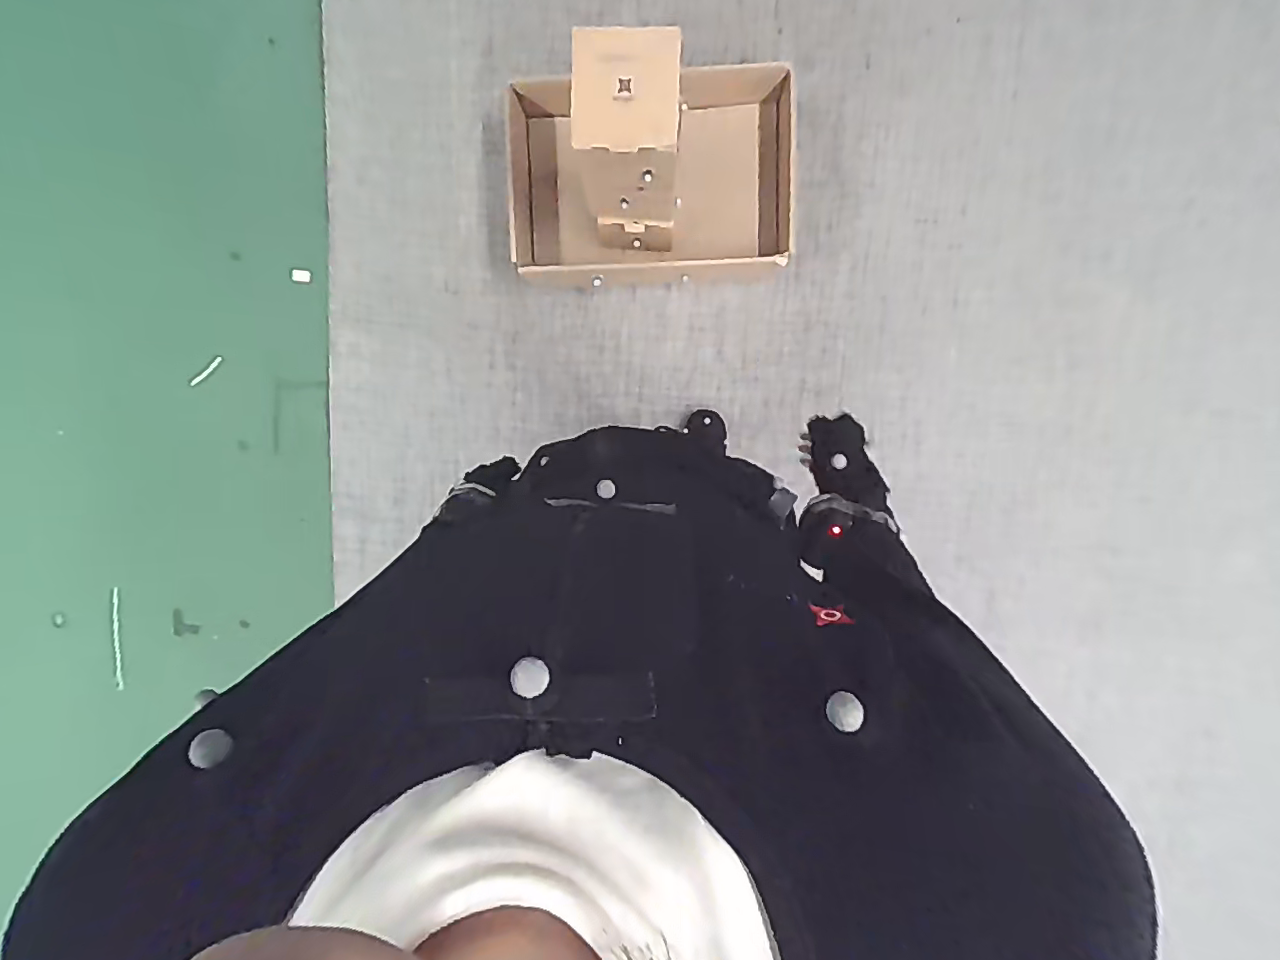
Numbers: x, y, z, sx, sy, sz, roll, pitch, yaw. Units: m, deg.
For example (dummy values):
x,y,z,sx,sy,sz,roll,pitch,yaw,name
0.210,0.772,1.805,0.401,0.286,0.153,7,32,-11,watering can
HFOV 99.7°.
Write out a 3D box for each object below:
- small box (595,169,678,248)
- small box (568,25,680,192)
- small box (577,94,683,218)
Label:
x,y,z,sx,sy,sz,roll,pitch,yaw,name
-0.003,-0.639,1.219,0.168,0.176,0.179,5,98,2,small box
-0.022,-0.601,0.896,0.168,0.176,0.179,2,95,1,small box
-0.014,-0.630,1.055,0.179,0.176,0.168,8,96,3,small box
